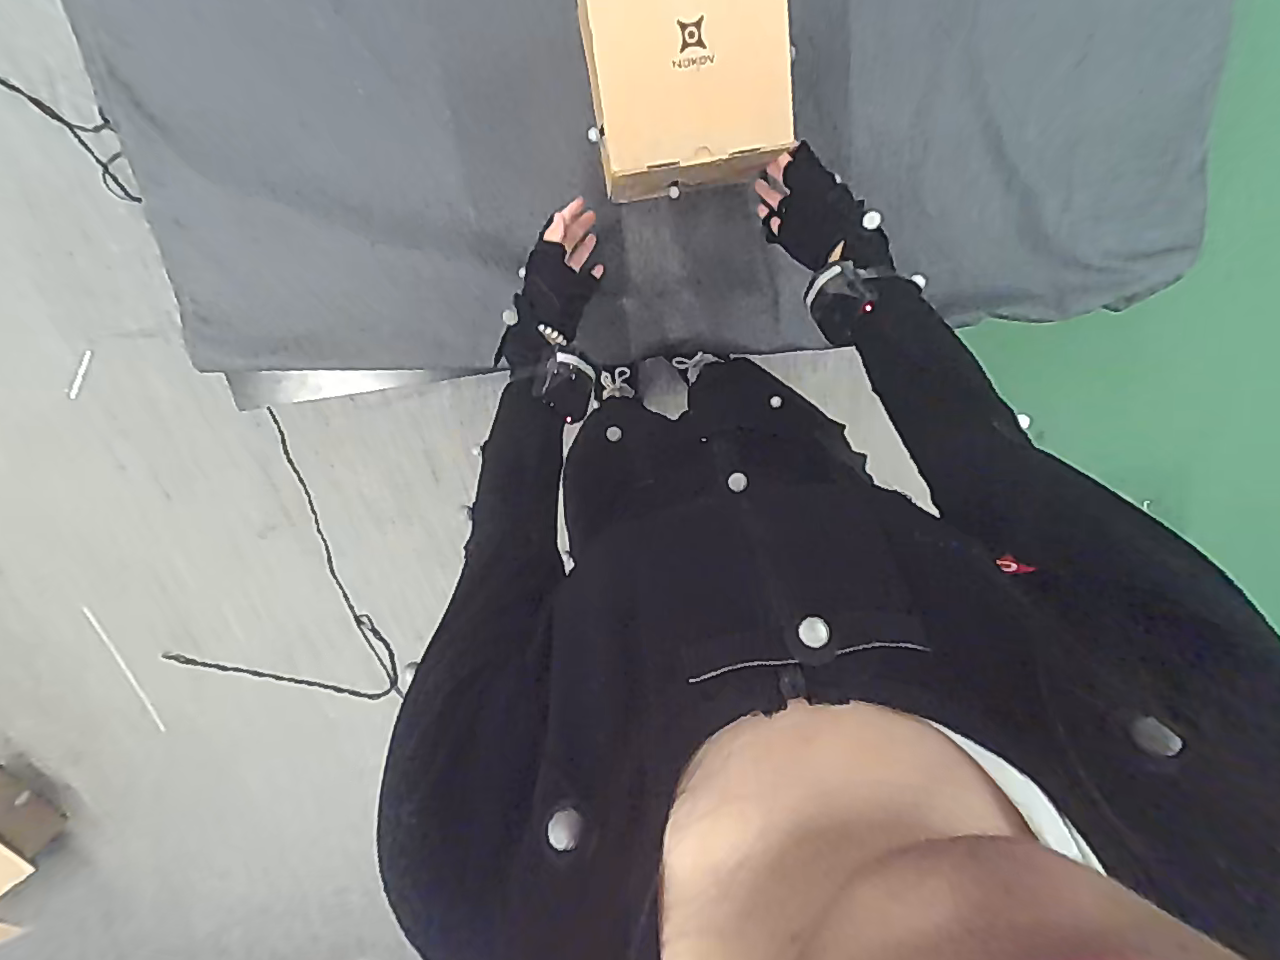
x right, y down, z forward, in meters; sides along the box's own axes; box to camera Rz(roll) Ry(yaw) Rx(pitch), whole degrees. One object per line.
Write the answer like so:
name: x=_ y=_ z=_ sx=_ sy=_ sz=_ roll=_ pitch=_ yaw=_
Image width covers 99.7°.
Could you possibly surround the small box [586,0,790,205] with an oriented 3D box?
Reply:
small box: x=0.039 y=-0.391 z=0.539 sx=0.168 sy=0.176 sz=0.179 roll=-10 pitch=111 yaw=-1
